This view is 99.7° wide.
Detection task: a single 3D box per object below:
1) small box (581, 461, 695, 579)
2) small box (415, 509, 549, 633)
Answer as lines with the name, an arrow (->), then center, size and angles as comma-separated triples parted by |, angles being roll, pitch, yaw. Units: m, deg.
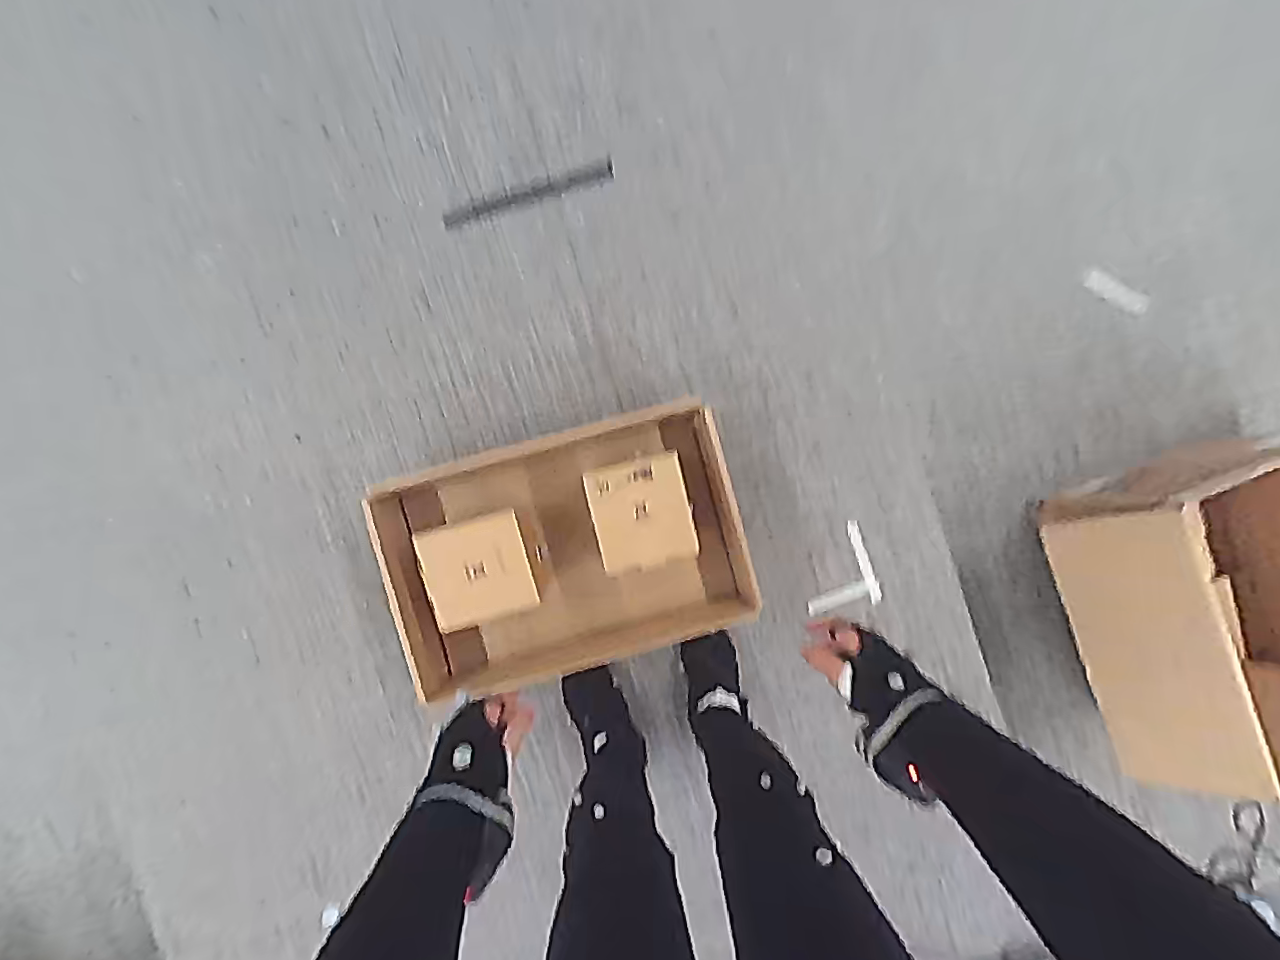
small box -> -0.004, 0.064, 0.998 | 0.168, 0.176, 0.179 | -14, 92, -1
small box -> -0.278, 0.156, 0.988 | 0.179, 0.176, 0.168 | -16, 92, -3
